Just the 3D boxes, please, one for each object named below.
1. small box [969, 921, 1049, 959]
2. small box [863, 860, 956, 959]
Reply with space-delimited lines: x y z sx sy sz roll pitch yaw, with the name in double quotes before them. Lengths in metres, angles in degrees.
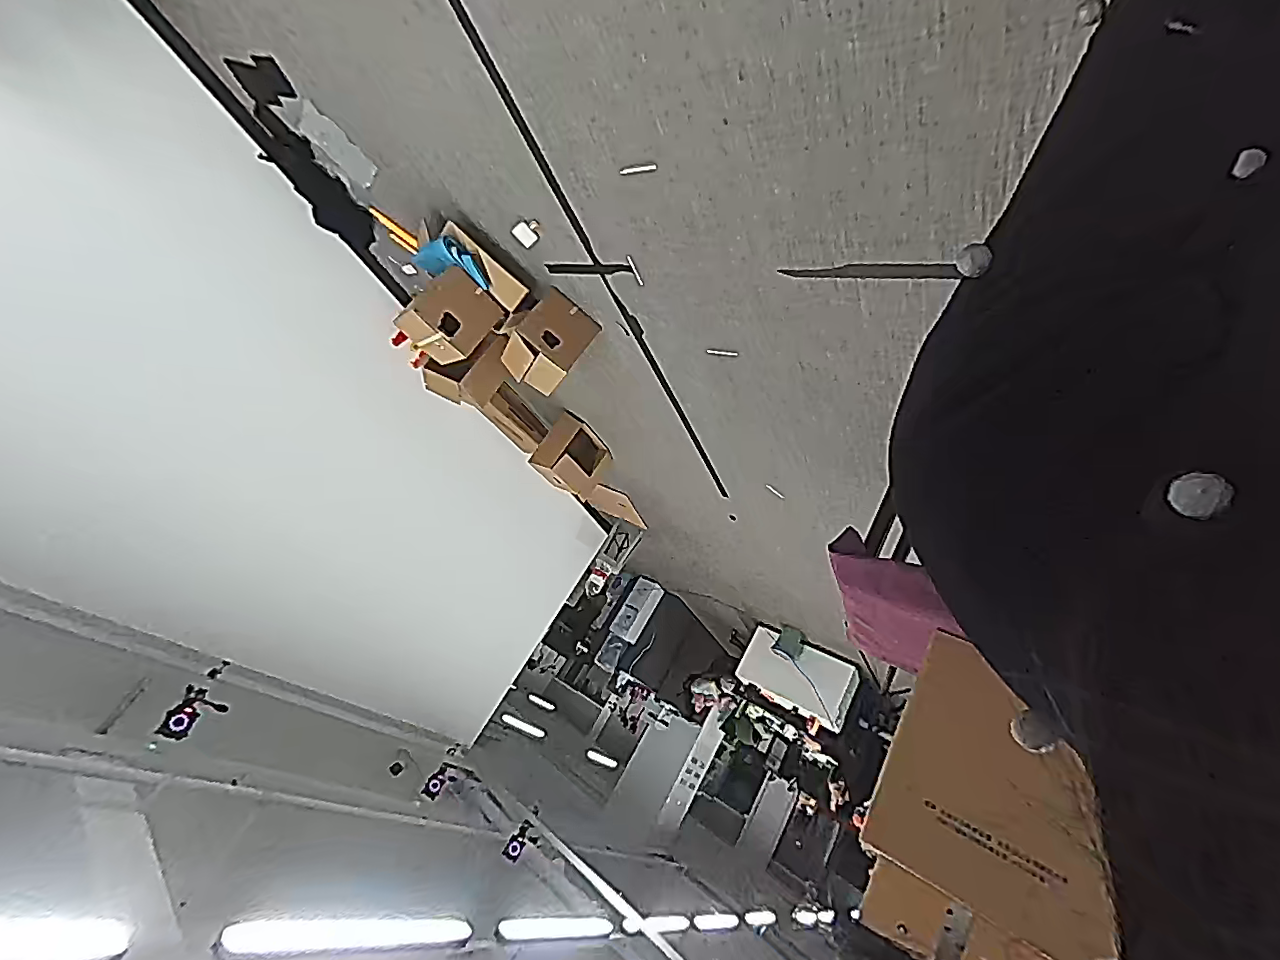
"small box" 0.876 1.181 1.269 0.179 0.176 0.168 16 155 39
"small box" 0.707 1.133 1.408 0.179 0.176 0.168 16 154 39
